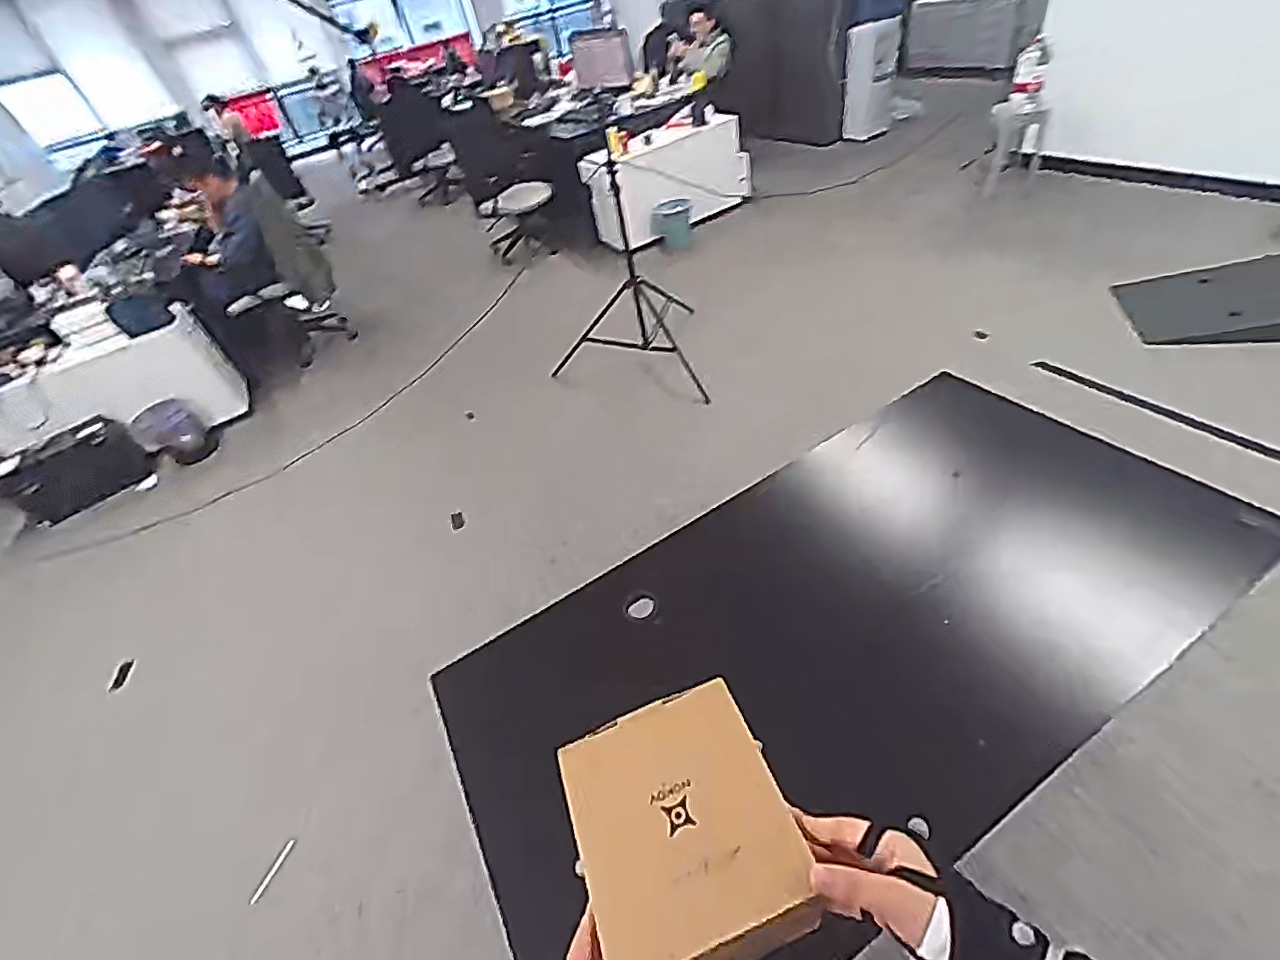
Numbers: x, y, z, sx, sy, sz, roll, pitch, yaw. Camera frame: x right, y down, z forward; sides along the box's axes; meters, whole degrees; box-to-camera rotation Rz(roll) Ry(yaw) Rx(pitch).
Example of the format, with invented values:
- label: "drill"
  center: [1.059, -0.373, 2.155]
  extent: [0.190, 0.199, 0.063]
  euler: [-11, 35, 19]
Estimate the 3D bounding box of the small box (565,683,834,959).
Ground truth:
- label: "small box"
  center: [0.048, 0.323, 0.483]
  extent: [0.168, 0.176, 0.179]
  euler: [-21, 43, -7]
